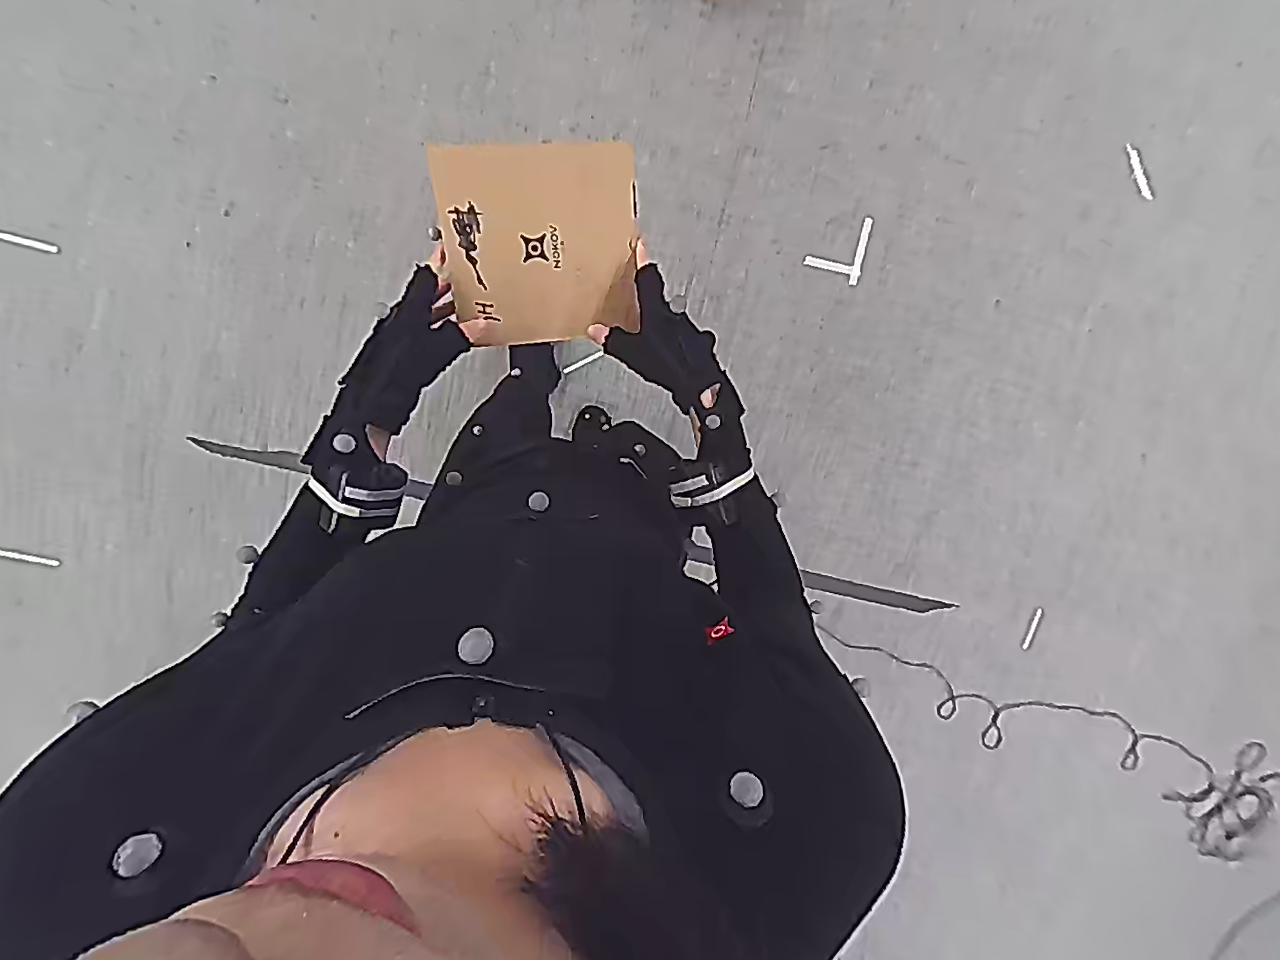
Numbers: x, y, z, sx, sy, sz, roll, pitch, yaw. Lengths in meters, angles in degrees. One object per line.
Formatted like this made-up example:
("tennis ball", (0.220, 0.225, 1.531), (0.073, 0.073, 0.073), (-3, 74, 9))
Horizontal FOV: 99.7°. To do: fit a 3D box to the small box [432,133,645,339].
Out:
("small box", (-0.100, -0.242, 0.552), (0.179, 0.176, 0.168), (-7, 113, -10))
